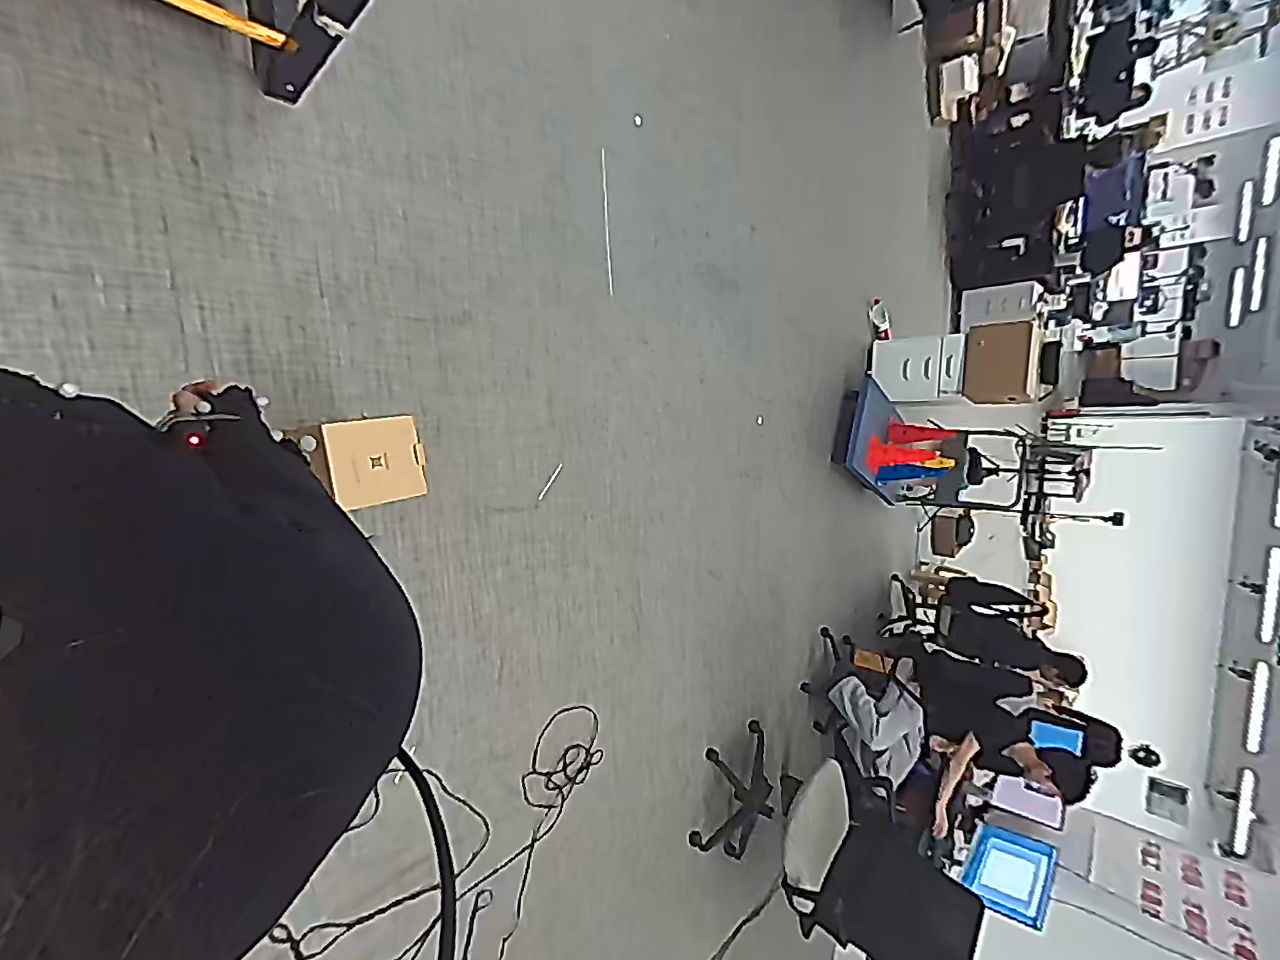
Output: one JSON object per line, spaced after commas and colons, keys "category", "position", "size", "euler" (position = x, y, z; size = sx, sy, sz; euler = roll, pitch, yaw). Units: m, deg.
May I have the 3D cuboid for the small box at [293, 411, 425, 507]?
{"category": "small box", "position": [-0.567, -0.051, 1.094], "size": [0.179, 0.176, 0.168], "euler": [-17, 105, -45]}

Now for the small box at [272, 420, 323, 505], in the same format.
{"category": "small box", "position": [-0.690, -0.050, 1.202], "size": [0.168, 0.176, 0.179], "euler": [-17, 105, -45]}
